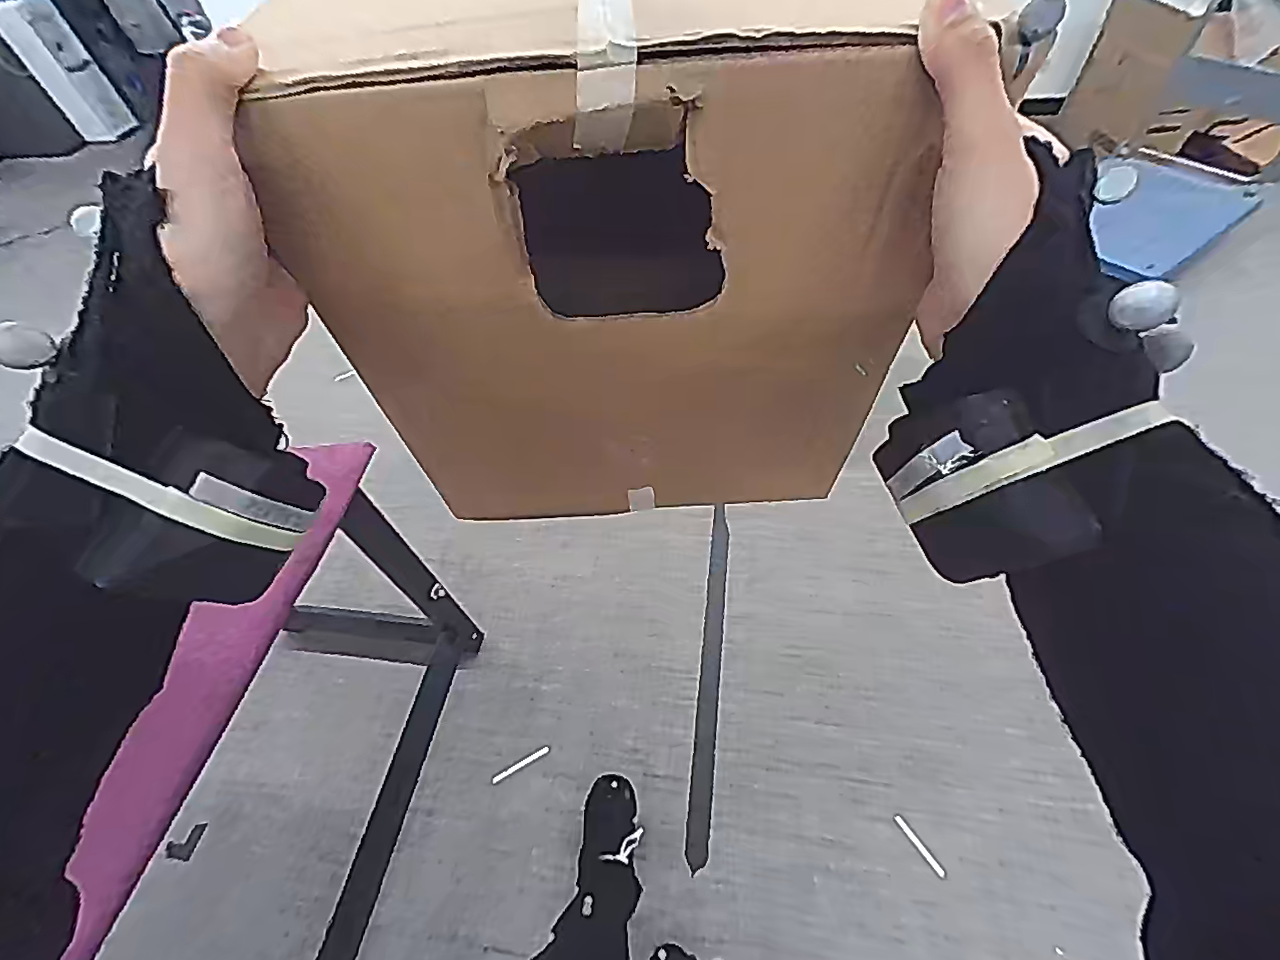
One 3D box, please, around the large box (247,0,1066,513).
[{"bbox_3d":[-0.003,-0.227,0.428,0.320,0.320,0.408,-5,57,1],"label":"large box"}]
